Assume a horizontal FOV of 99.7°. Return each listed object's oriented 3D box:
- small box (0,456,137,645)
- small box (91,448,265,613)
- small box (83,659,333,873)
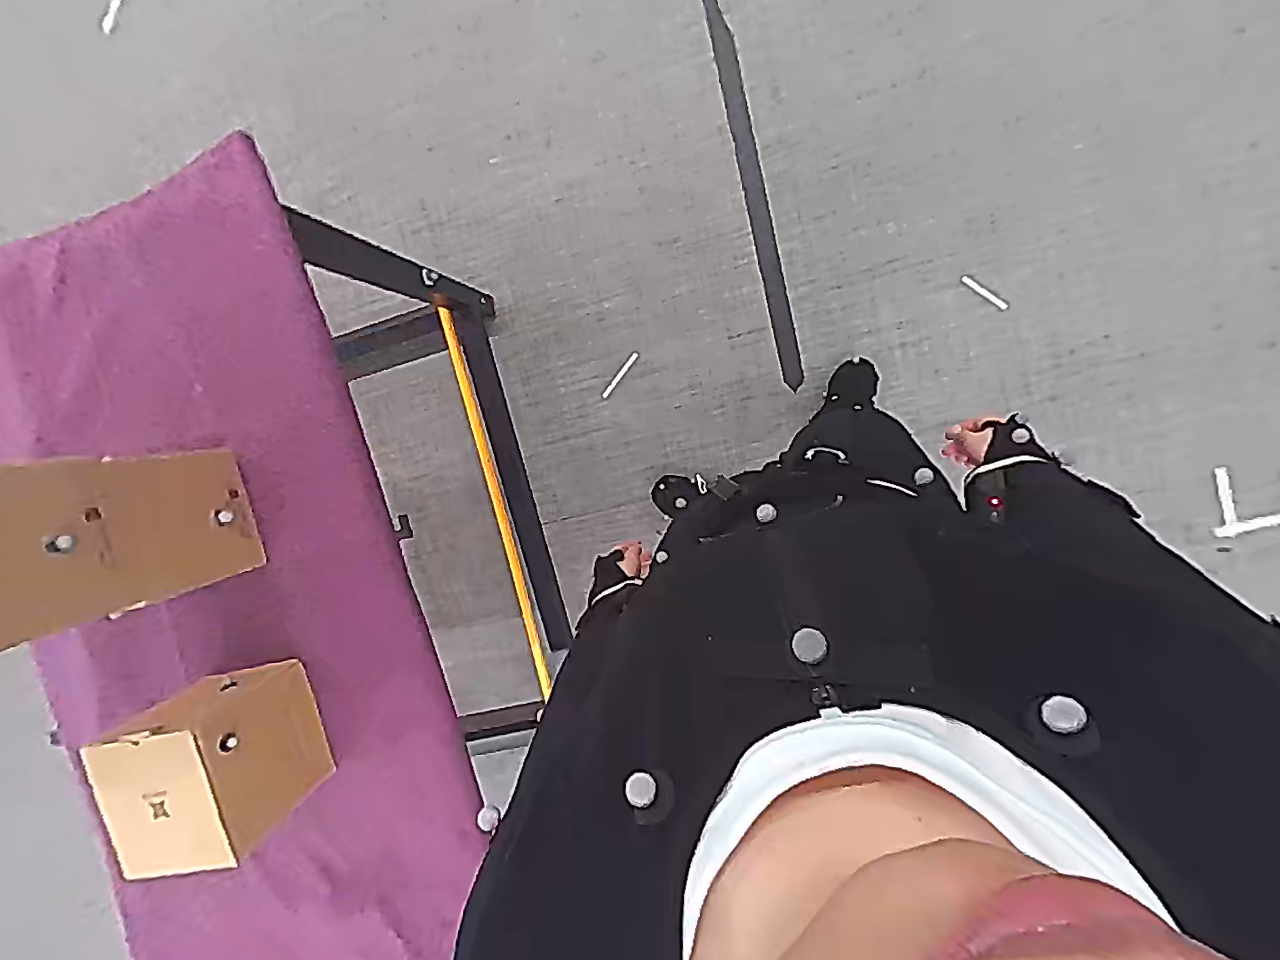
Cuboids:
[{"bbox_3d":[-0.650,0.079,0.511,0.179,0.176,0.168,-12,97,10],"label":"small box"},{"bbox_3d":[-0.625,0.061,0.674,0.179,0.176,0.168,-12,96,9],"label":"small box"},{"bbox_3d":[-0.543,0.362,0.706,0.168,0.176,0.179,-14,95,10],"label":"small box"}]
